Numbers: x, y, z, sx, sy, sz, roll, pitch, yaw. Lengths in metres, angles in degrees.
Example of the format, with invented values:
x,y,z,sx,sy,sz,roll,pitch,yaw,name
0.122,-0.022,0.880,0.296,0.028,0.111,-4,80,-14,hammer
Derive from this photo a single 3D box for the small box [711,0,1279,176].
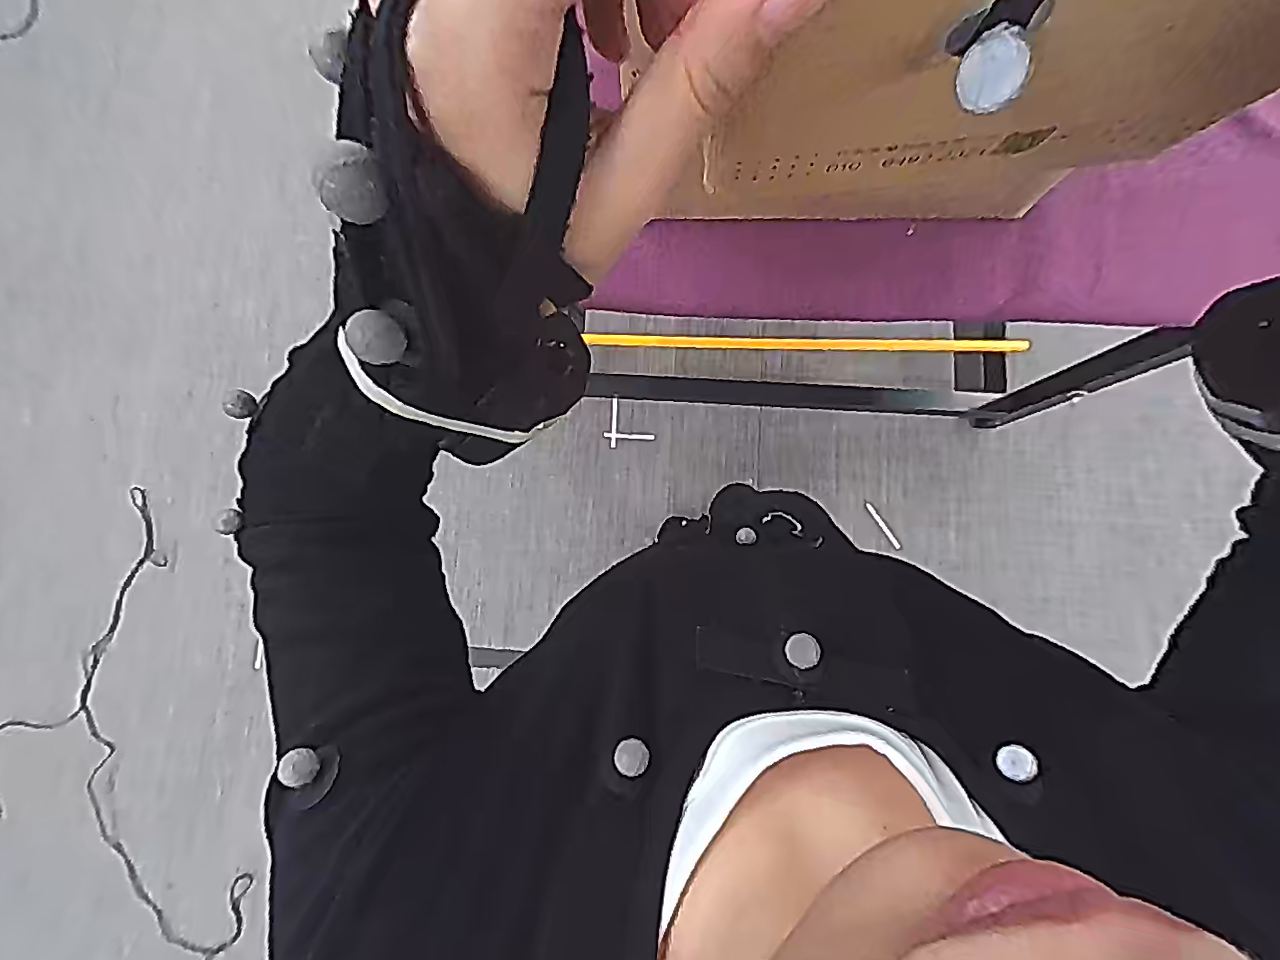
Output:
x,y,z,sx,sy,sz,roll,pitch,yaw,name
0.101,-0.189,0.117,0.168,0.176,0.179,-3,97,6,small box
